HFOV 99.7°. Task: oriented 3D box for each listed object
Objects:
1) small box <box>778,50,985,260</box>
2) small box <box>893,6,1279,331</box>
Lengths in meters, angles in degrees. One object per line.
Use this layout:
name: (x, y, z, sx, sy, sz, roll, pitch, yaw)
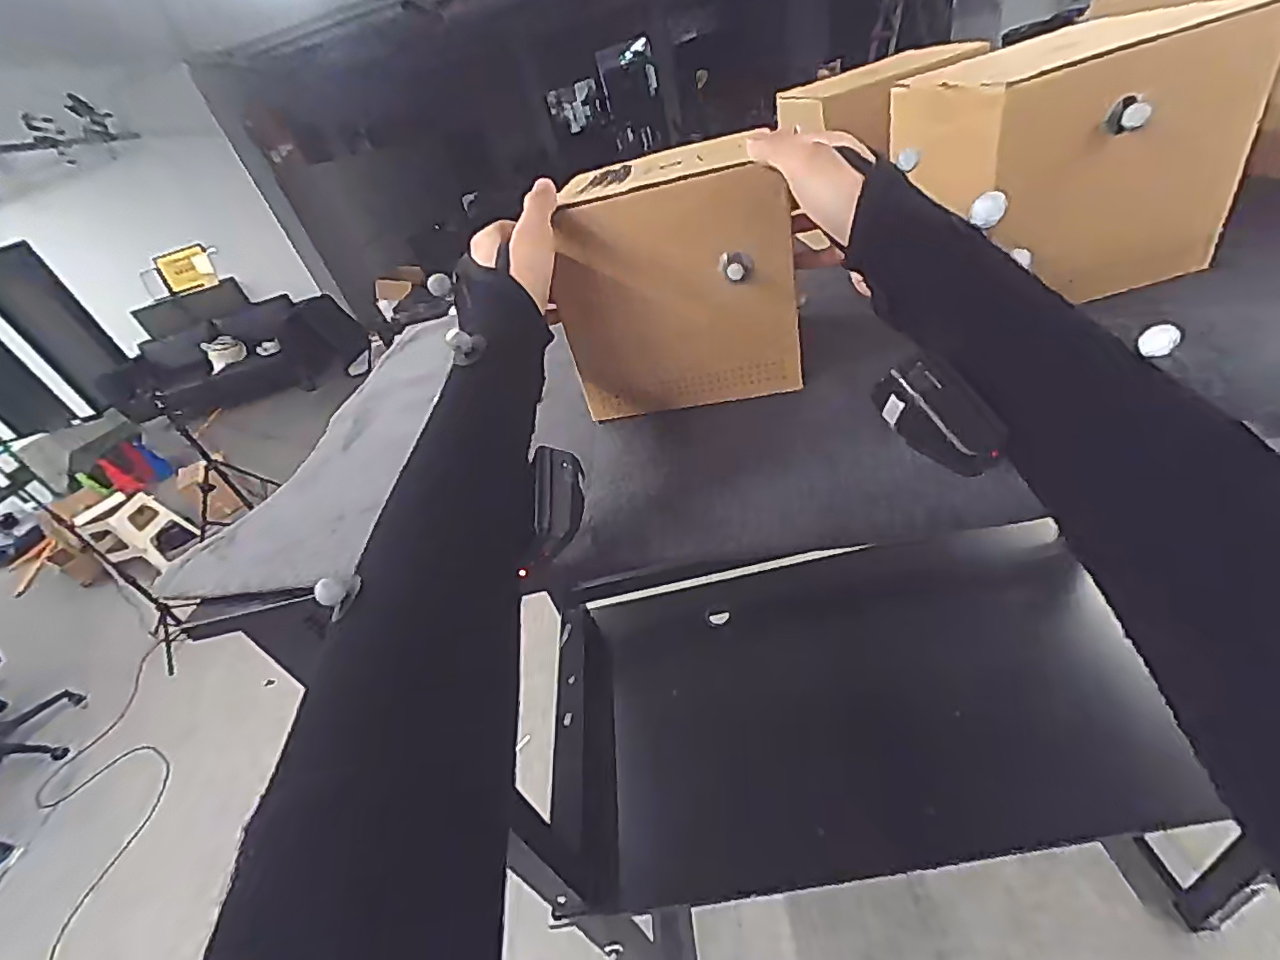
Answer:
small box: (0.274, -0.383, 0.648, 0.168, 0.176, 0.179, -14, 36, 6)
small box: (0.325, -0.246, 0.441, 0.179, 0.176, 0.168, -15, 35, 6)
